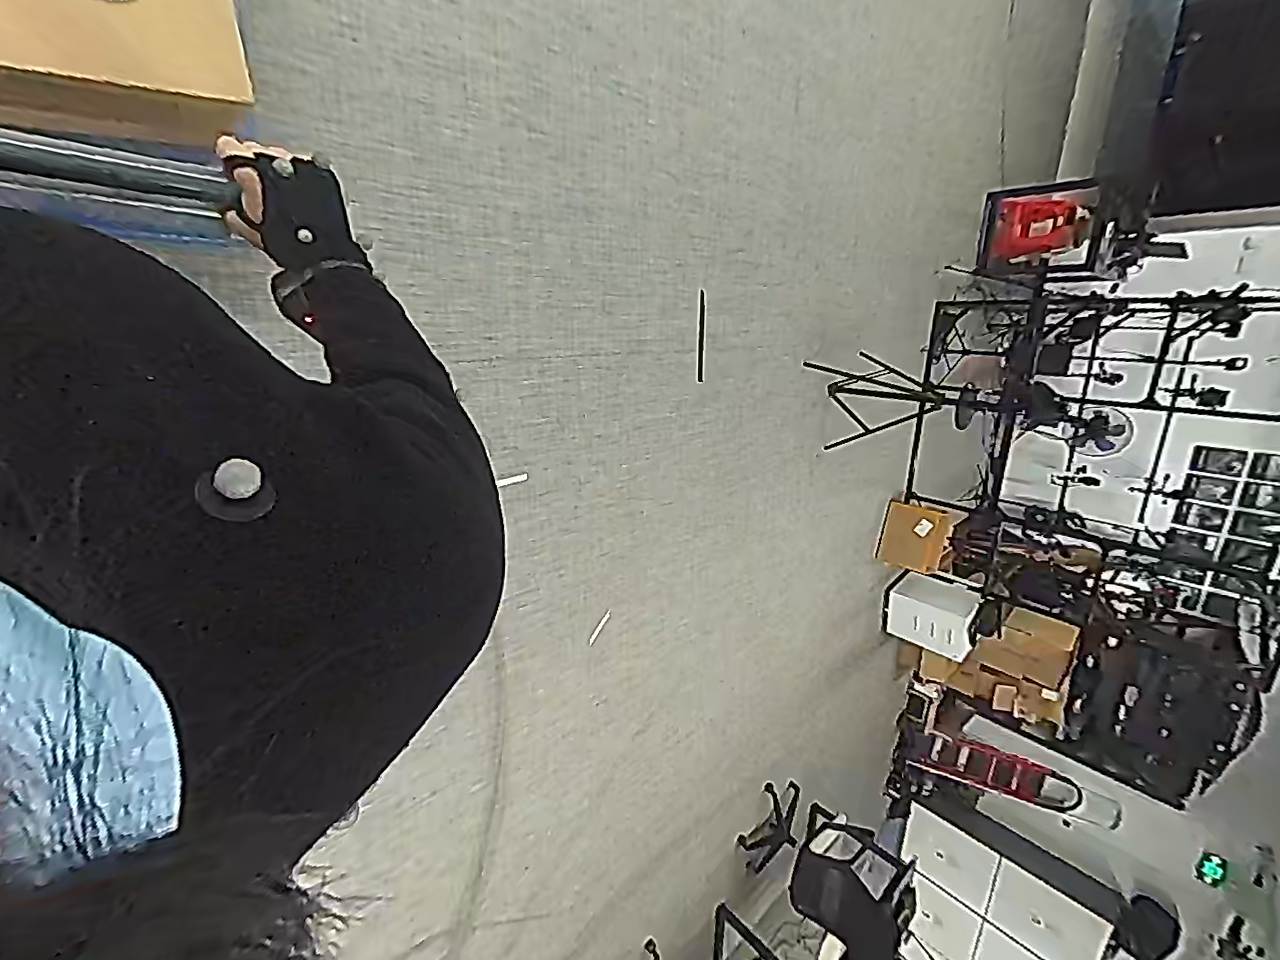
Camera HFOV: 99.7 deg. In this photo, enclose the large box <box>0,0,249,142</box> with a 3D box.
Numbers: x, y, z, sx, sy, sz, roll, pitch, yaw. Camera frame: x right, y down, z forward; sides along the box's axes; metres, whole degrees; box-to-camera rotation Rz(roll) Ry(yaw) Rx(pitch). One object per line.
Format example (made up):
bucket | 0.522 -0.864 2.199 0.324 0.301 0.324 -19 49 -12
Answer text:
large box | -0.823 -0.675 0.712 0.408 0.320 0.320 -20 117 -40
